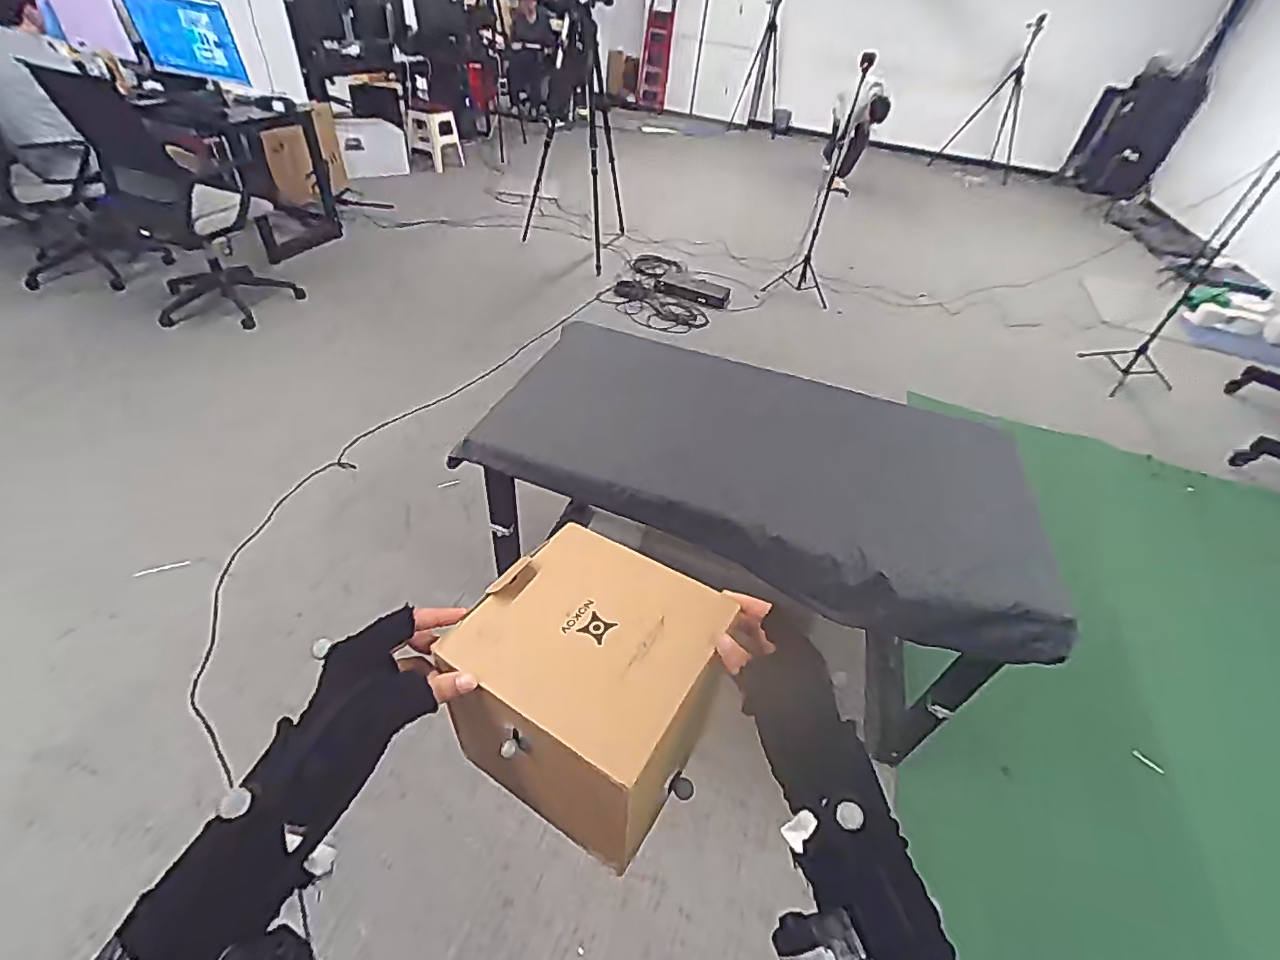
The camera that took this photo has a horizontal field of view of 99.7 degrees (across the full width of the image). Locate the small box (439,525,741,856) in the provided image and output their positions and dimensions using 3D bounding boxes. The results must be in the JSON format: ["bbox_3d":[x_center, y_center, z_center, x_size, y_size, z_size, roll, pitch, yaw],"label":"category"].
[{"bbox_3d":[-0.037,0.175,0.462,0.179,0.176,0.168,23,43,22],"label":"small box"}]
